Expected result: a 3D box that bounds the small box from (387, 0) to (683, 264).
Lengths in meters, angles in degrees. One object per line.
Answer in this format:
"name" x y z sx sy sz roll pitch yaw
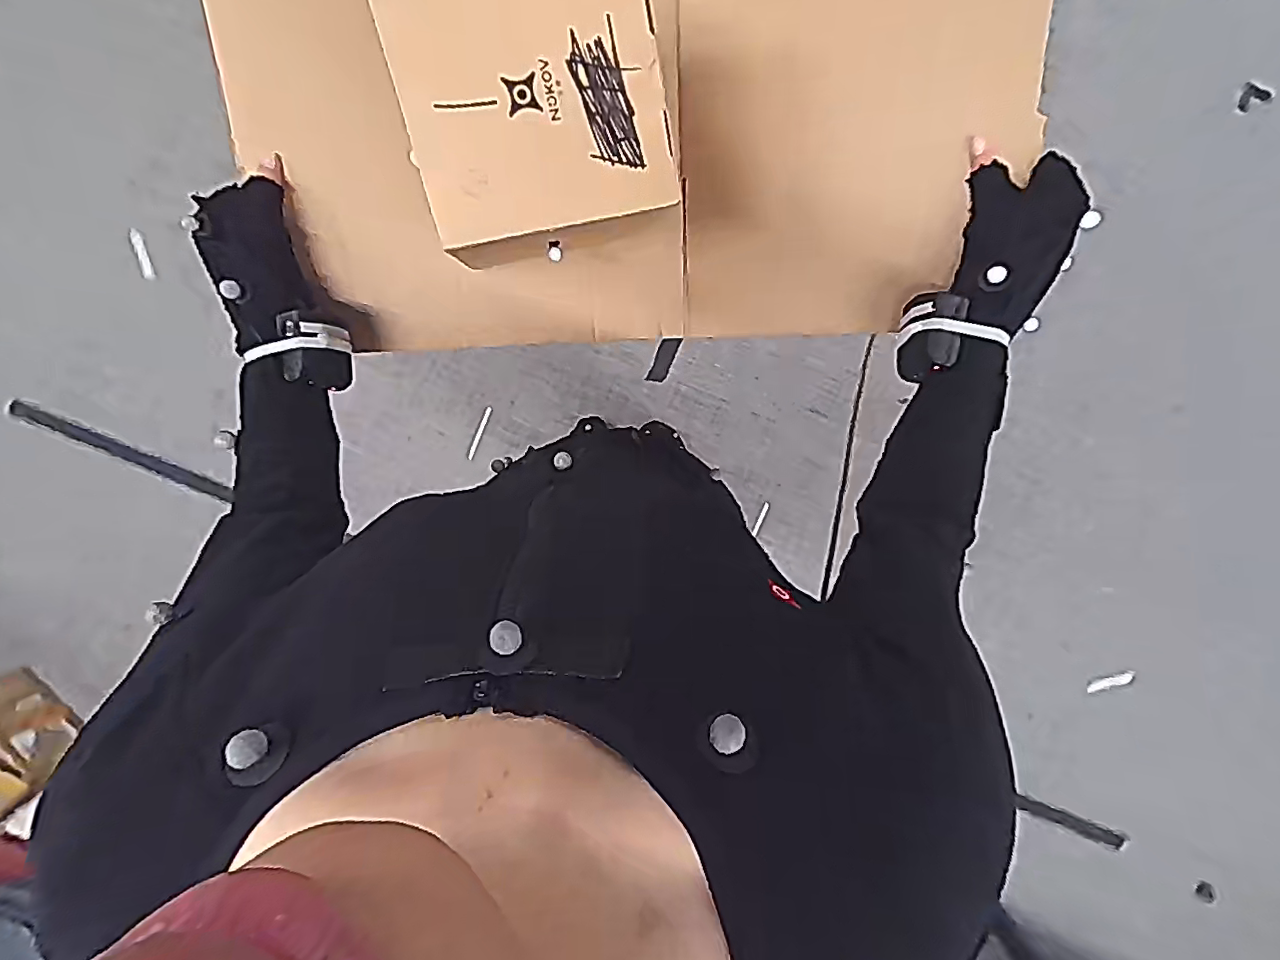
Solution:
"small box" -0.078 -0.282 0.445 0.179 0.176 0.168 -13 108 -6
